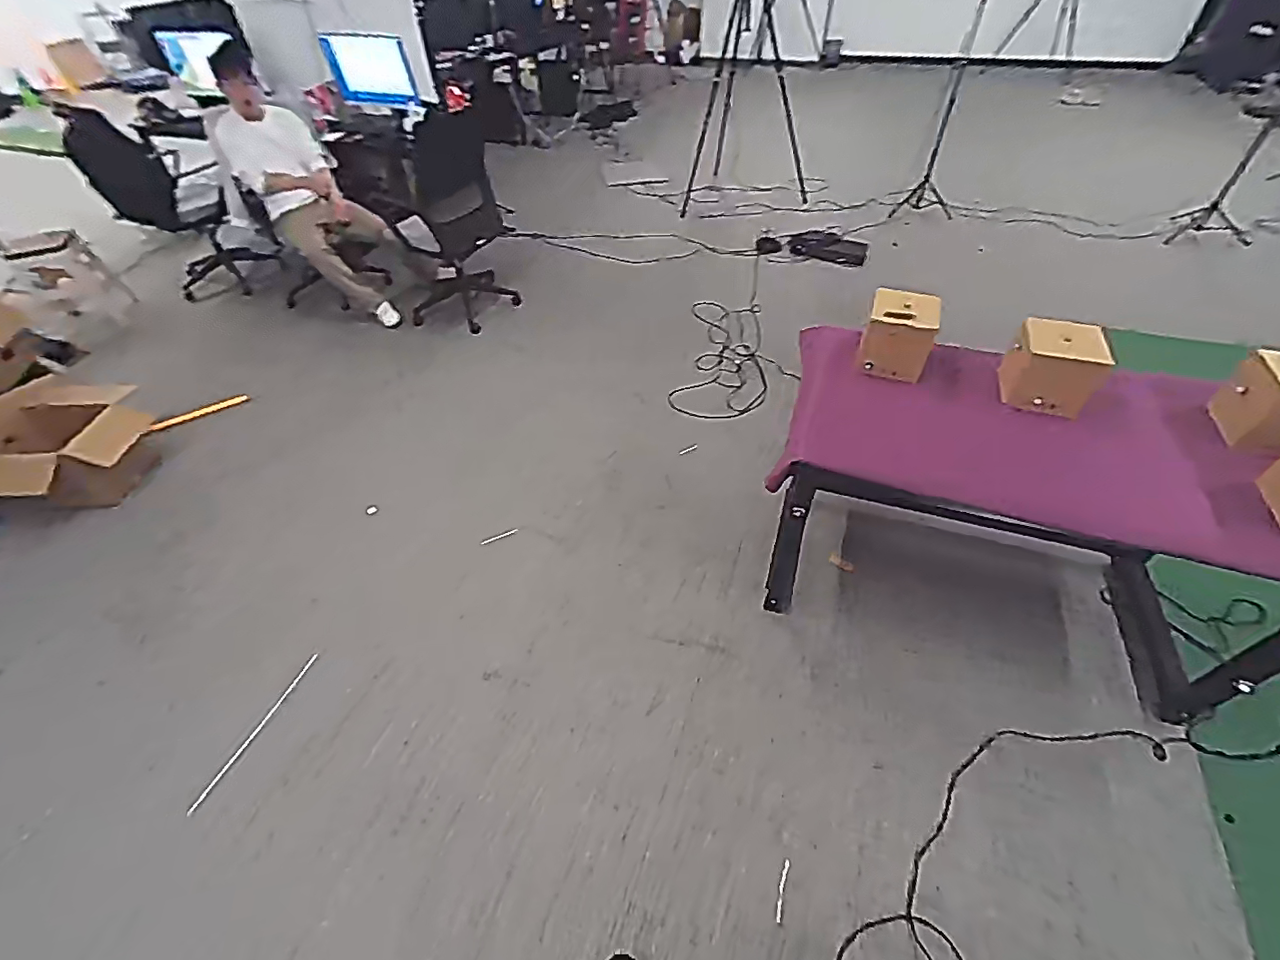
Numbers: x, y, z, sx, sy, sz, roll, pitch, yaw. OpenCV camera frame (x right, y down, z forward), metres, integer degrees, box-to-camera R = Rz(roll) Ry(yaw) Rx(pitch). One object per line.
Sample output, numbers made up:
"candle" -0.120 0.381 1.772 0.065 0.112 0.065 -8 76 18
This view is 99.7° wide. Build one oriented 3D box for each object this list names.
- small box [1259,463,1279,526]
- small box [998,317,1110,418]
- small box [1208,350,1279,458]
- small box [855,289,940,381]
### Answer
"small box" 1.388 0.022 1.051 0.168 0.176 0.179 14 48 17
"small box" 1.032 -0.284 1.367 0.168 0.176 0.179 14 49 16
"small box" 1.471 -0.169 1.235 0.168 0.176 0.179 12 48 15
"small box" 0.701 -0.396 1.482 0.168 0.176 0.179 16 50 16
